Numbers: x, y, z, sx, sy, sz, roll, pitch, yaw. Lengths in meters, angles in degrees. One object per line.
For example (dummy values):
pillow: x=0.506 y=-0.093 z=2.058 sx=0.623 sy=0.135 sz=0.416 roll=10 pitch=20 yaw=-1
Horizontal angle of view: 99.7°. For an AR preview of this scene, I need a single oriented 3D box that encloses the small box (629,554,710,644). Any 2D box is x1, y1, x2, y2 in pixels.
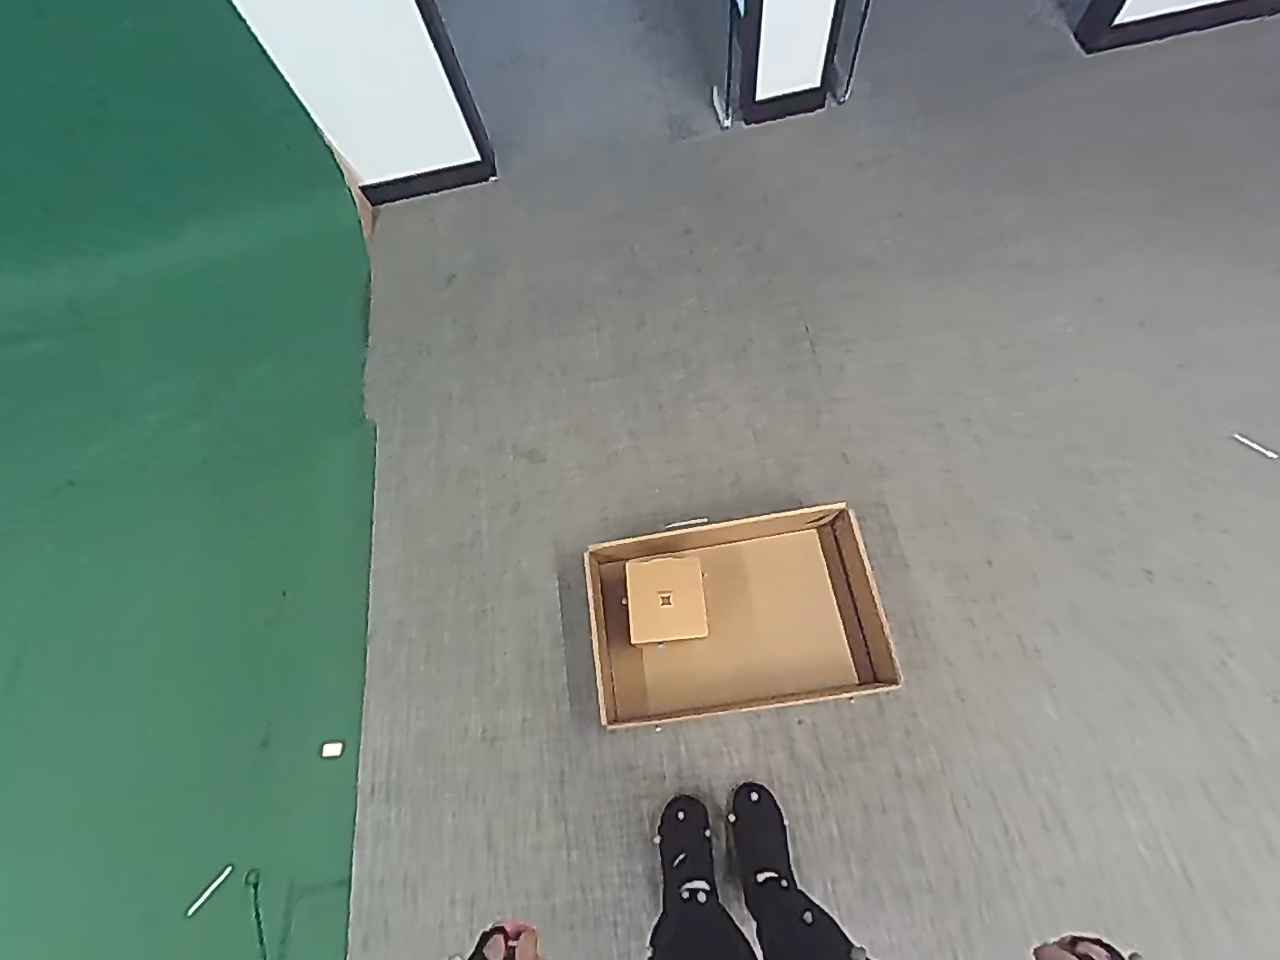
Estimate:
small box: x=0.070 y=0.278 z=1.234 sx=0.168 sy=0.176 sz=0.179 roll=-6 pitch=68 yaw=4
